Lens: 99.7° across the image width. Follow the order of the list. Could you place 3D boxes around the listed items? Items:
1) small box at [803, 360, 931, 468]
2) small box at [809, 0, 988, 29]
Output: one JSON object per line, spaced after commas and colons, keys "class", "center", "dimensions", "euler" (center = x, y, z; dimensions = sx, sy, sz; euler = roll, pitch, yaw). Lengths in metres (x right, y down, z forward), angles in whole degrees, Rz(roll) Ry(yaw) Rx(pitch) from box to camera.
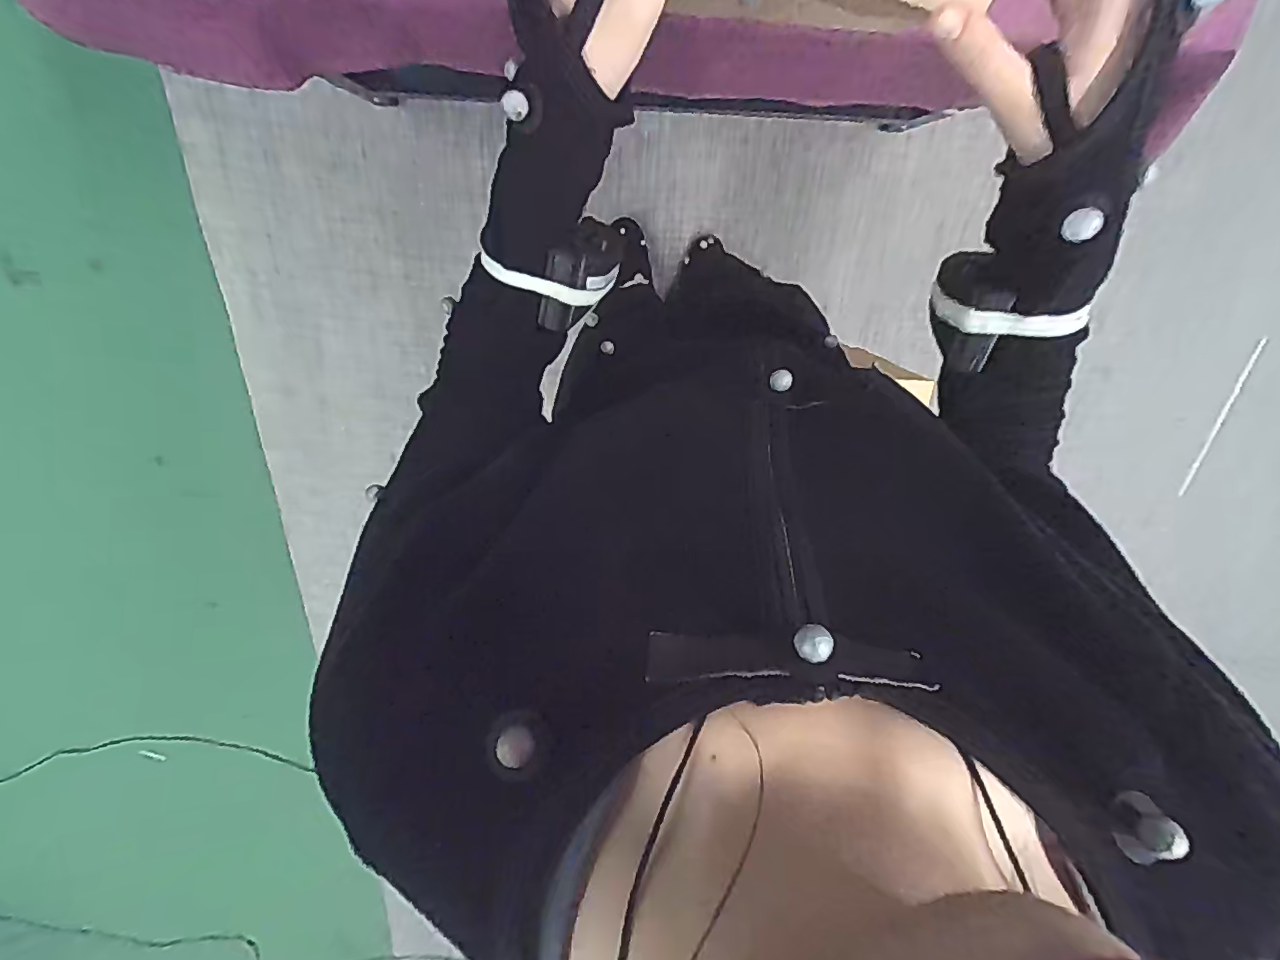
{"class": "small box", "center": [0.444, -0.139, 1.091], "dimensions": [0.168, 0.176, 0.179], "euler": [3, 114, -4]}
{"class": "small box", "center": [0.098, -0.342, 0.243], "dimensions": [0.168, 0.176, 0.179], "euler": [10, 132, -10]}
